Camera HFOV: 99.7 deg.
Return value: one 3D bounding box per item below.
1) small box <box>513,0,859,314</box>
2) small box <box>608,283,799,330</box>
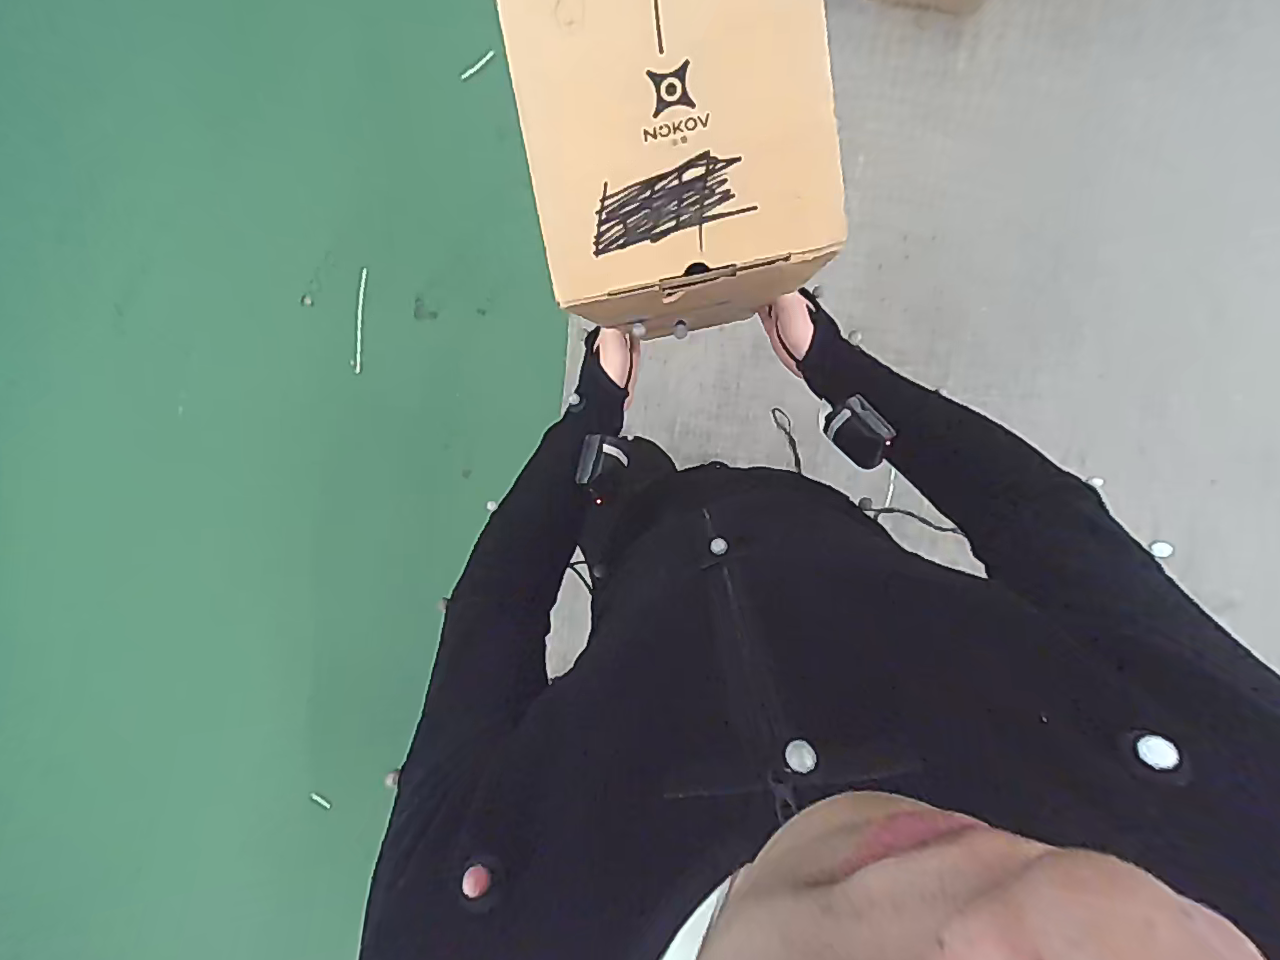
[{"bbox_3d":[0.032,-0.213,0.357,0.168,0.176,0.179,-8,99,7],"label":"small box"},{"bbox_3d":[0.046,-0.249,0.516,0.168,0.176,0.179,-8,101,7],"label":"small box"}]
